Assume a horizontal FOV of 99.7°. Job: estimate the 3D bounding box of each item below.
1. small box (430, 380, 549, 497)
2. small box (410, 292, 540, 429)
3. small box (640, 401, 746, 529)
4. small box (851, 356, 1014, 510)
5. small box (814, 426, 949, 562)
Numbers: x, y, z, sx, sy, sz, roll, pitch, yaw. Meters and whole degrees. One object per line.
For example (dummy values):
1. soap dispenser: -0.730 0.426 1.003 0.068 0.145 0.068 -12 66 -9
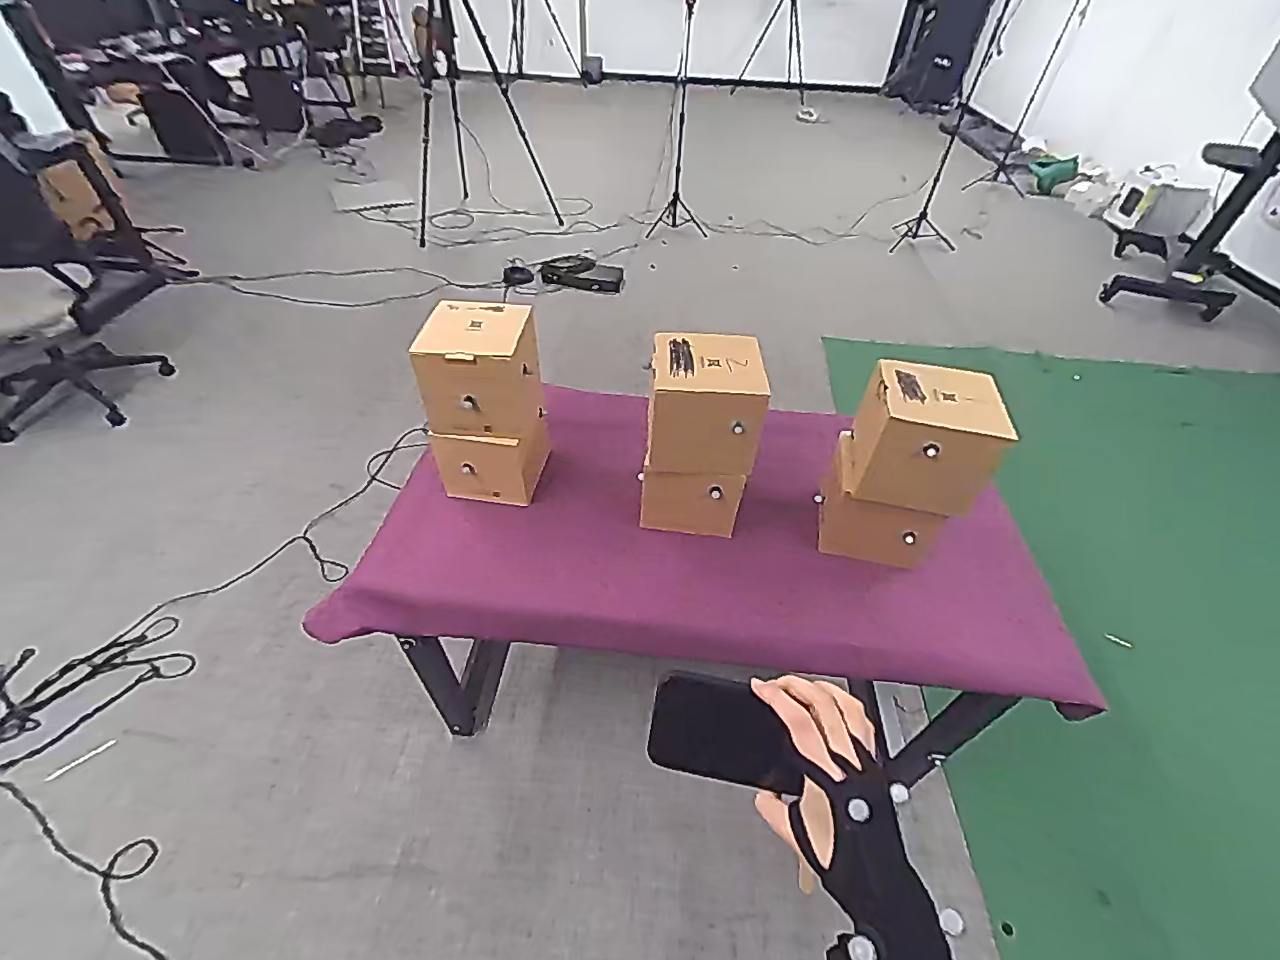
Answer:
1. small box: -0.284 -0.088 1.068 0.168 0.176 0.179 8 46 4
2. small box: -0.277 -0.209 0.957 0.168 0.176 0.179 4 46 0
3. small box: 0.099 -0.025 1.026 0.179 0.176 0.168 7 46 4
4. small box: 0.447 -0.073 0.865 0.179 0.176 0.168 12 46 8
5. small box: 0.434 0.029 0.993 0.179 0.176 0.168 12 46 9
